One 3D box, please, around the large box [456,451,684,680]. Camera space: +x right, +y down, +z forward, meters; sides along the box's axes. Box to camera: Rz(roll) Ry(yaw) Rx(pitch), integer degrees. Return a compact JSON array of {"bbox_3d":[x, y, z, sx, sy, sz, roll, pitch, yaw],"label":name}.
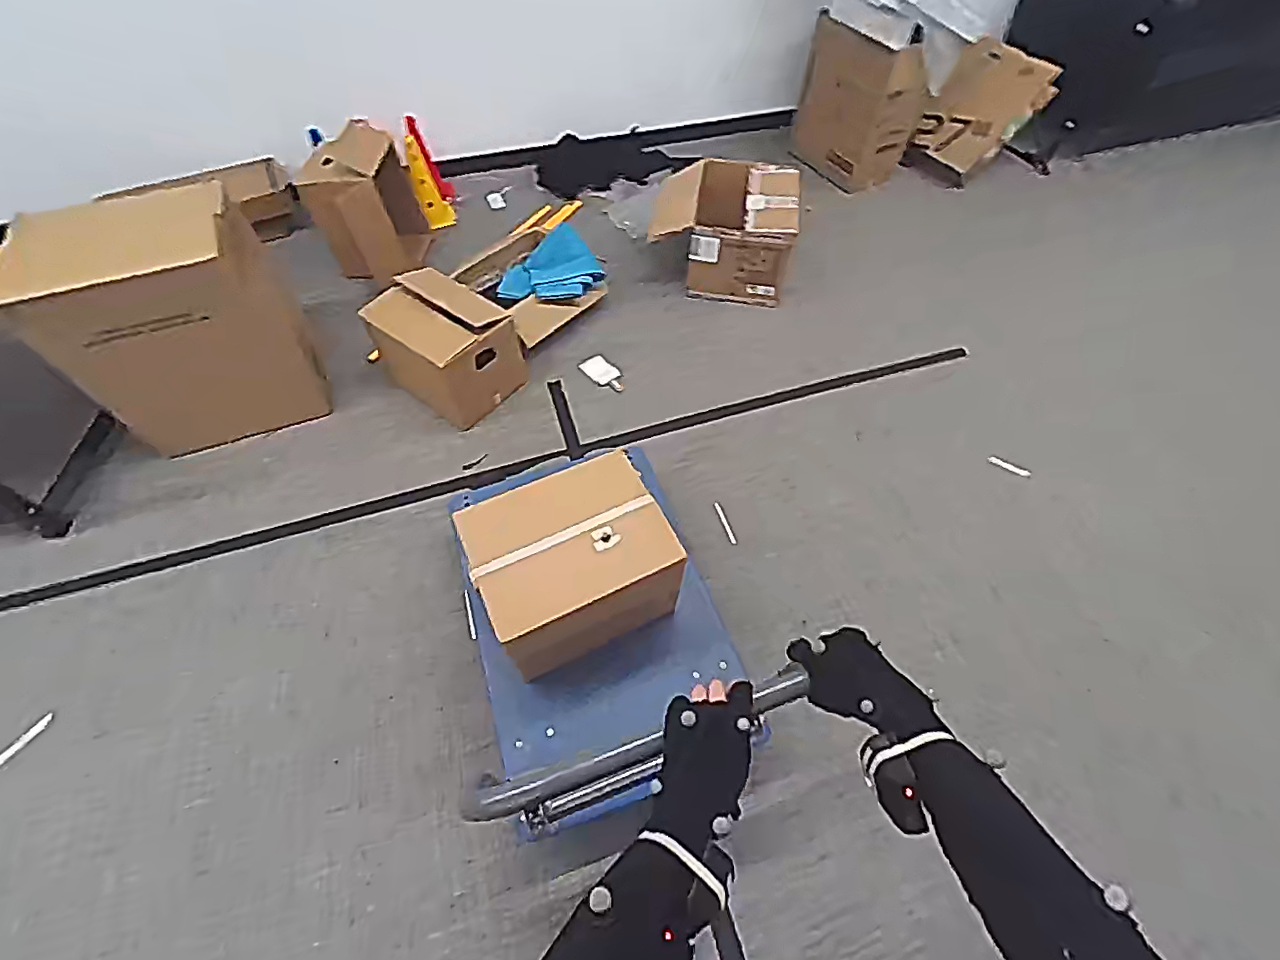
[{"bbox_3d":[-0.155,0.201,1.257,0.408,0.320,0.320,-23,60,-17],"label":"large box"}]
